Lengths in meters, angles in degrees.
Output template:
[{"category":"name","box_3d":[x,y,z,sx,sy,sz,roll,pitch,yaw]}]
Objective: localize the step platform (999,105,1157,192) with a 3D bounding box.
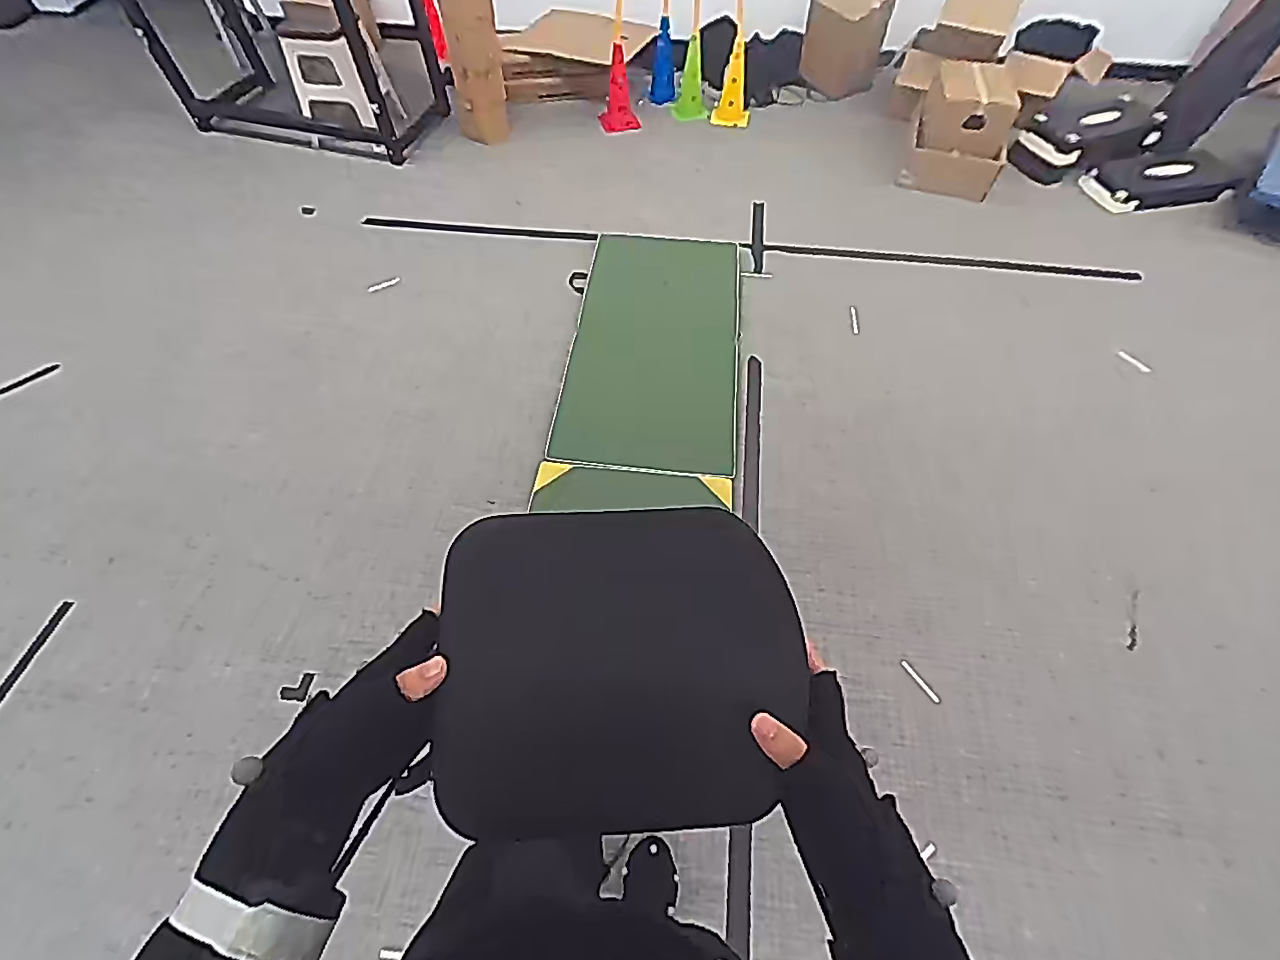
[{"category":"step platform","box_3d":[2.183,-1.659,2.695,0.684,0.204,0.286,-19,60,-12]}]
